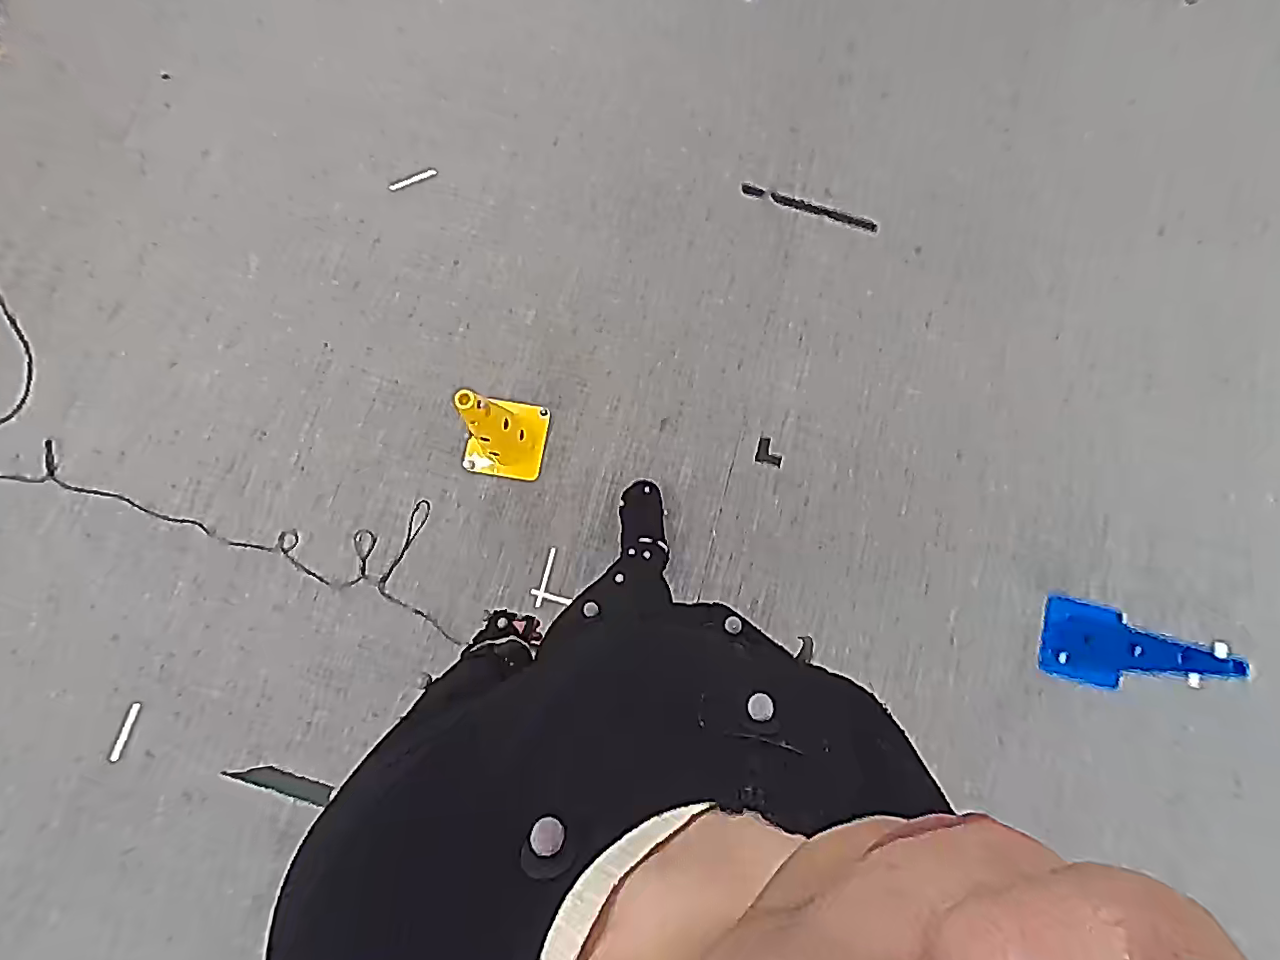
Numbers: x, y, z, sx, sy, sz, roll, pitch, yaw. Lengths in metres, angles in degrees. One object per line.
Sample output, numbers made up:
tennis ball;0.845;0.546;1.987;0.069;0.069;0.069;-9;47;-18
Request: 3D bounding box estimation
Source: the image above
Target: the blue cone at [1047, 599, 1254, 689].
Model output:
blue cone;1.108;0.377;1.174;0.193;0.380;0.192;17;80;2
